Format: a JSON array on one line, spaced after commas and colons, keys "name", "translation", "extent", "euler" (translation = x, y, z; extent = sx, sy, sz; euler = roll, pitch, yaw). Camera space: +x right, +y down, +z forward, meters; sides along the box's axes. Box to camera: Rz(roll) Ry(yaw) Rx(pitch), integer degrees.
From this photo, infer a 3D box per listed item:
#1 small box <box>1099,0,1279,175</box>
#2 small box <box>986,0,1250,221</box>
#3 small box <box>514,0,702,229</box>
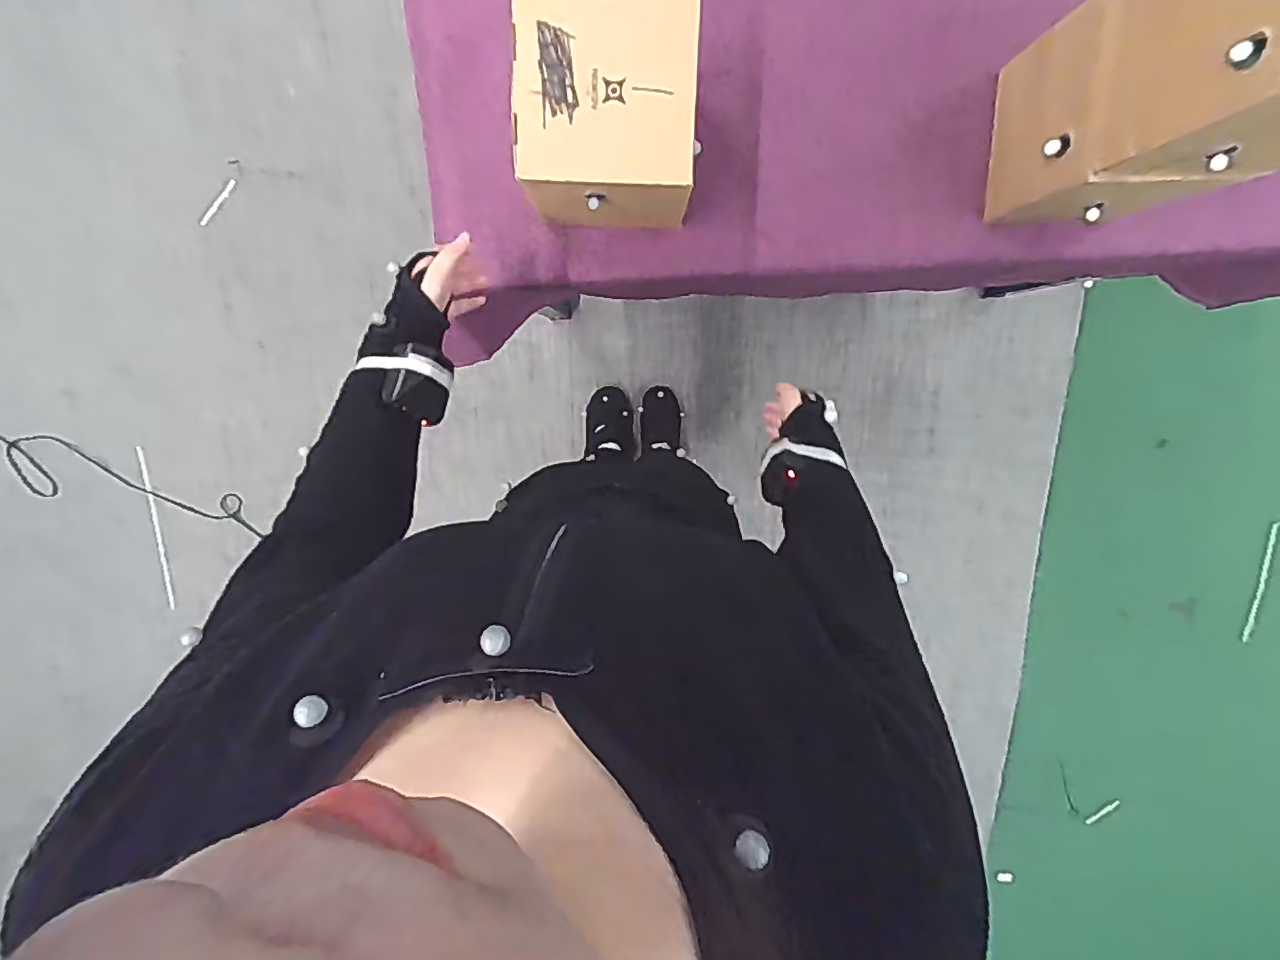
[{"name": "small box", "translation": [0.521, -0.366, 0.431], "extent": [0.168, 0.176, 0.179], "euler": [-1, 103, 0]}, {"name": "small box", "translation": [0.515, -0.393, 0.592], "extent": [0.168, 0.176, 0.179], "euler": [-1, 102, 0]}, {"name": "small box", "translation": [-0.033, -0.384, 0.592], "extent": [0.179, 0.176, 0.168], "euler": [1, 102, -2]}]
